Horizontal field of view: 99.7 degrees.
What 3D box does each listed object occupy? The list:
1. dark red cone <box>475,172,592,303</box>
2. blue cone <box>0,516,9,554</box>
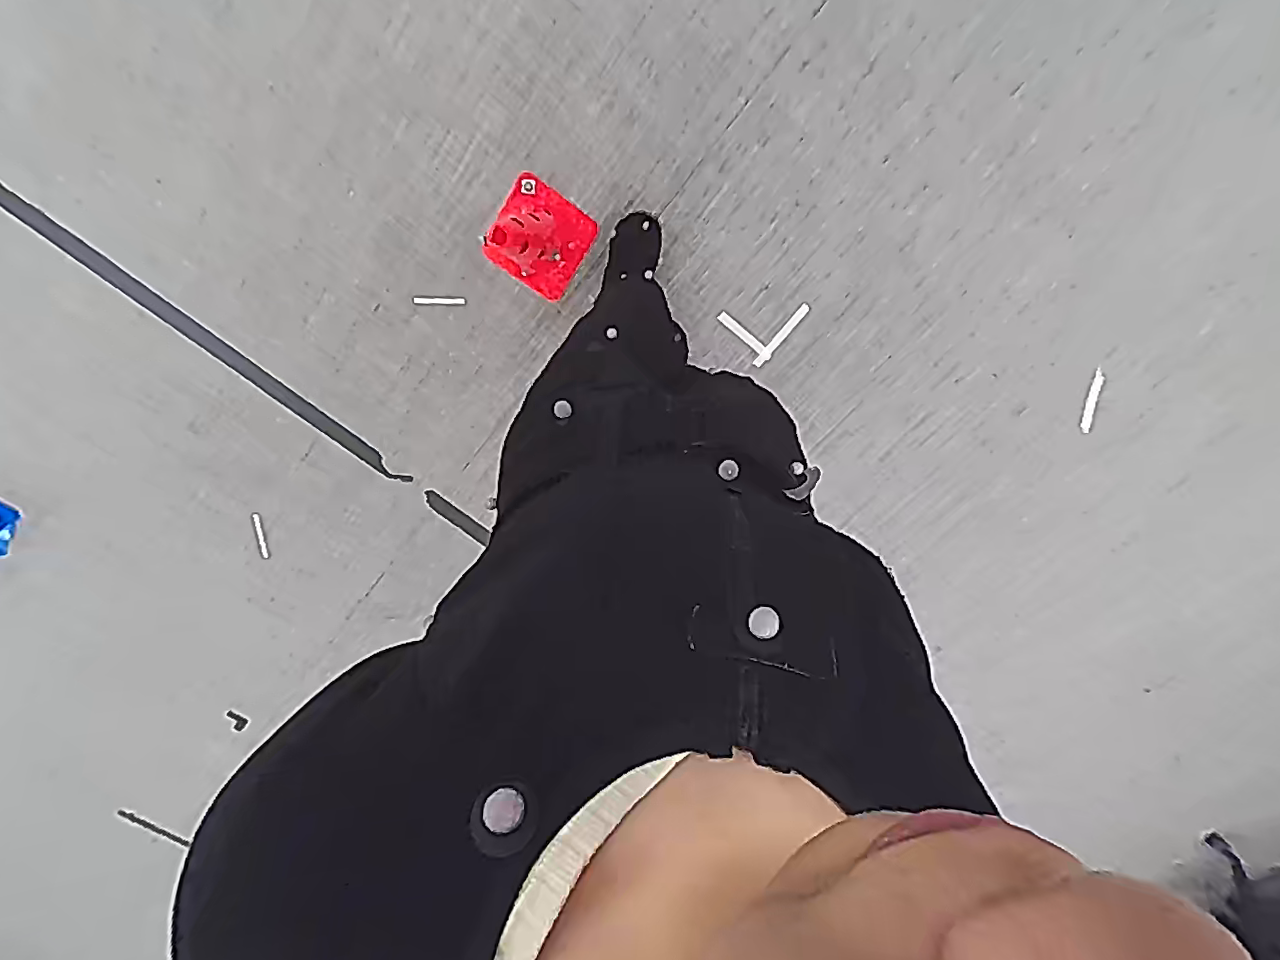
[{"bbox_3d":[-0.228,-0.442,0.999,0.202,0.394,0.201,31,111,-12],"label":"dark red cone"},{"bbox_3d":[-1.839,0.189,1.324,0.193,0.380,0.192,39,109,-15],"label":"blue cone"}]
